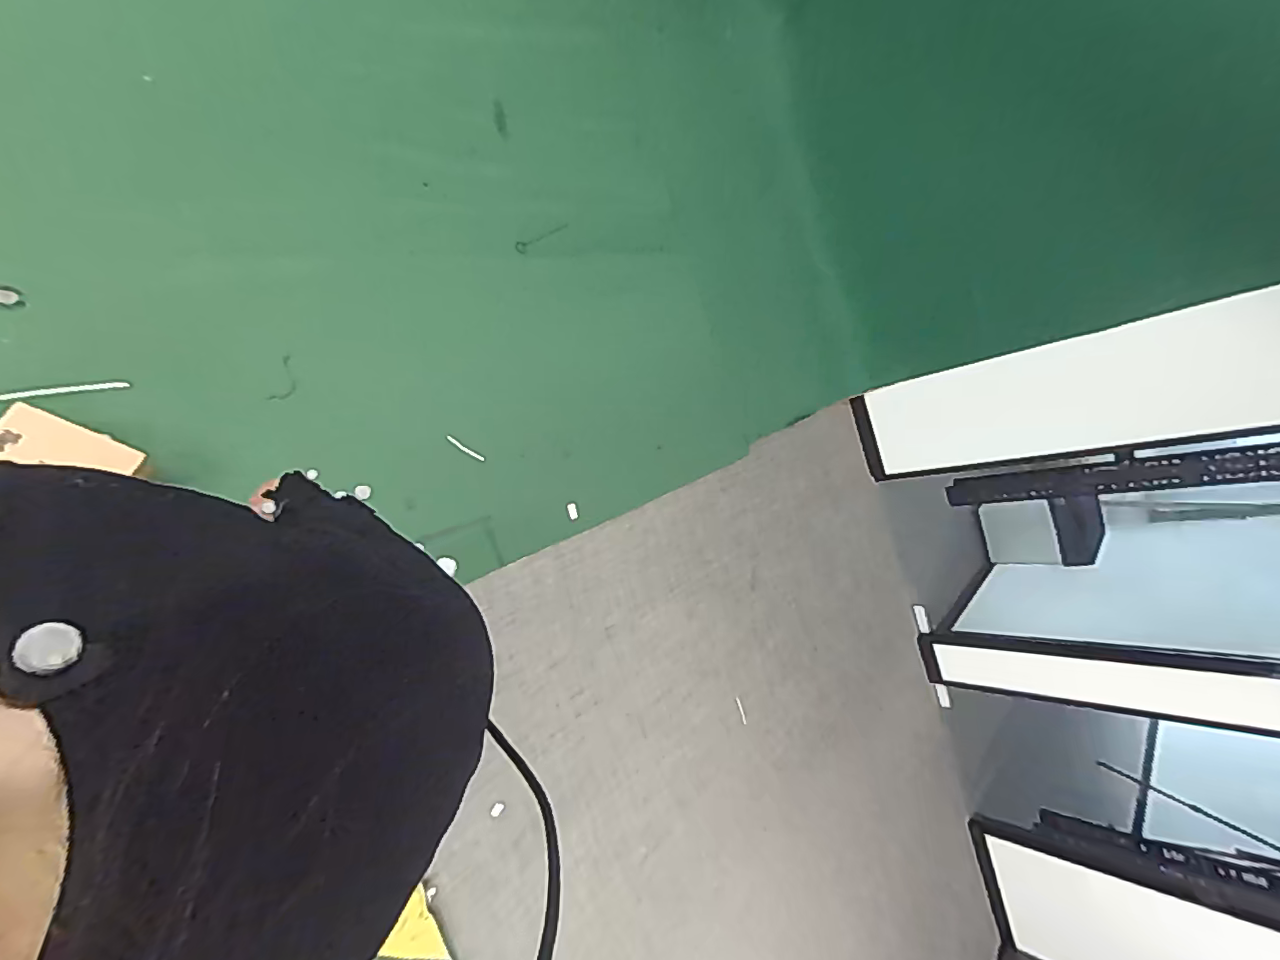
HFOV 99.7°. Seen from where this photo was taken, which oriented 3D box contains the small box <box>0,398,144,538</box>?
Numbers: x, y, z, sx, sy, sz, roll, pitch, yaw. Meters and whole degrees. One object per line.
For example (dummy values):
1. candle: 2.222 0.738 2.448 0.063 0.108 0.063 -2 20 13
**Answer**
1. small box: -0.987 -0.011 0.912 0.179 0.176 0.168 34 63 -33
